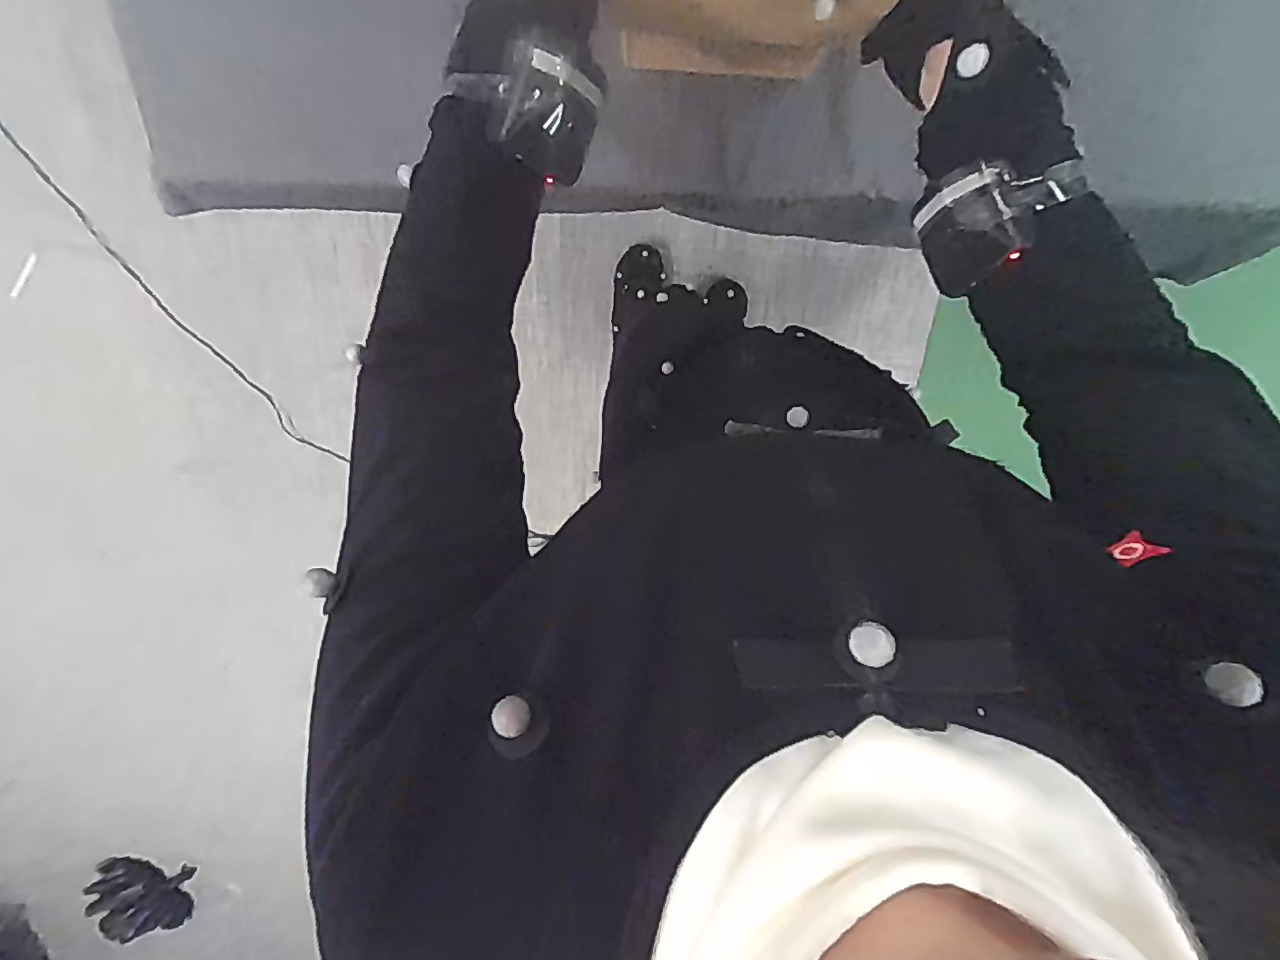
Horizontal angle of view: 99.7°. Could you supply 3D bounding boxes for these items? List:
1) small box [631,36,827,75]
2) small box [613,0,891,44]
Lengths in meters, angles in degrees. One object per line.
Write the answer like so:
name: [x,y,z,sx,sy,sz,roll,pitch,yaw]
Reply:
small box: [0.078,-0.443,0.425,0.179,0.176,0.168,1,111,1]
small box: [0.070,-0.348,0.270,0.179,0.176,0.168,1,112,2]
